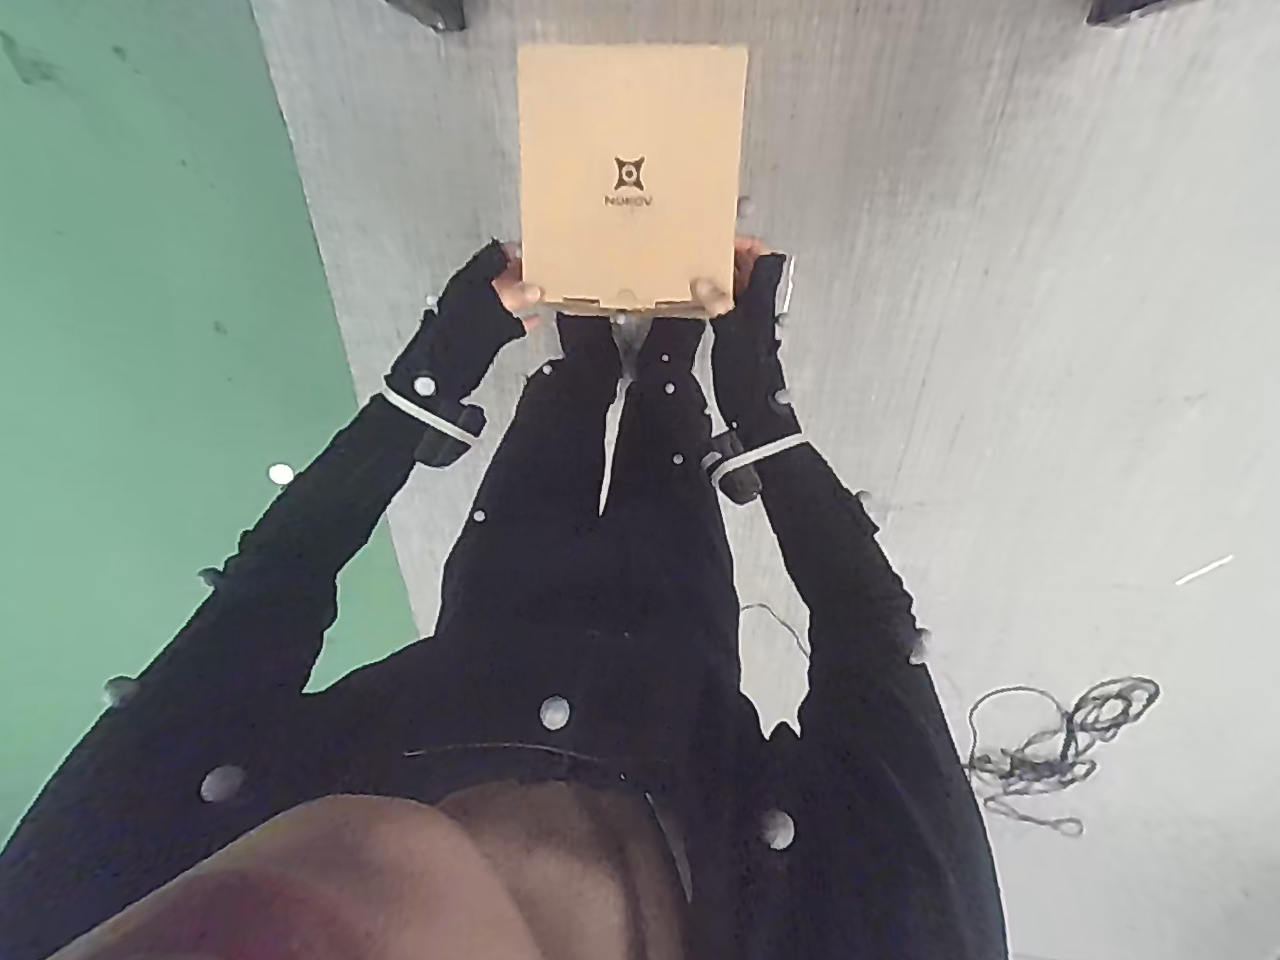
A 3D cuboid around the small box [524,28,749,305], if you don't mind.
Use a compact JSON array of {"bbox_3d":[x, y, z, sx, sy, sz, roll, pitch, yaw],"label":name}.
[{"bbox_3d":[-0.003,-0.256,0.484,0.168,0.176,0.179,2,105,2],"label":"small box"}]
